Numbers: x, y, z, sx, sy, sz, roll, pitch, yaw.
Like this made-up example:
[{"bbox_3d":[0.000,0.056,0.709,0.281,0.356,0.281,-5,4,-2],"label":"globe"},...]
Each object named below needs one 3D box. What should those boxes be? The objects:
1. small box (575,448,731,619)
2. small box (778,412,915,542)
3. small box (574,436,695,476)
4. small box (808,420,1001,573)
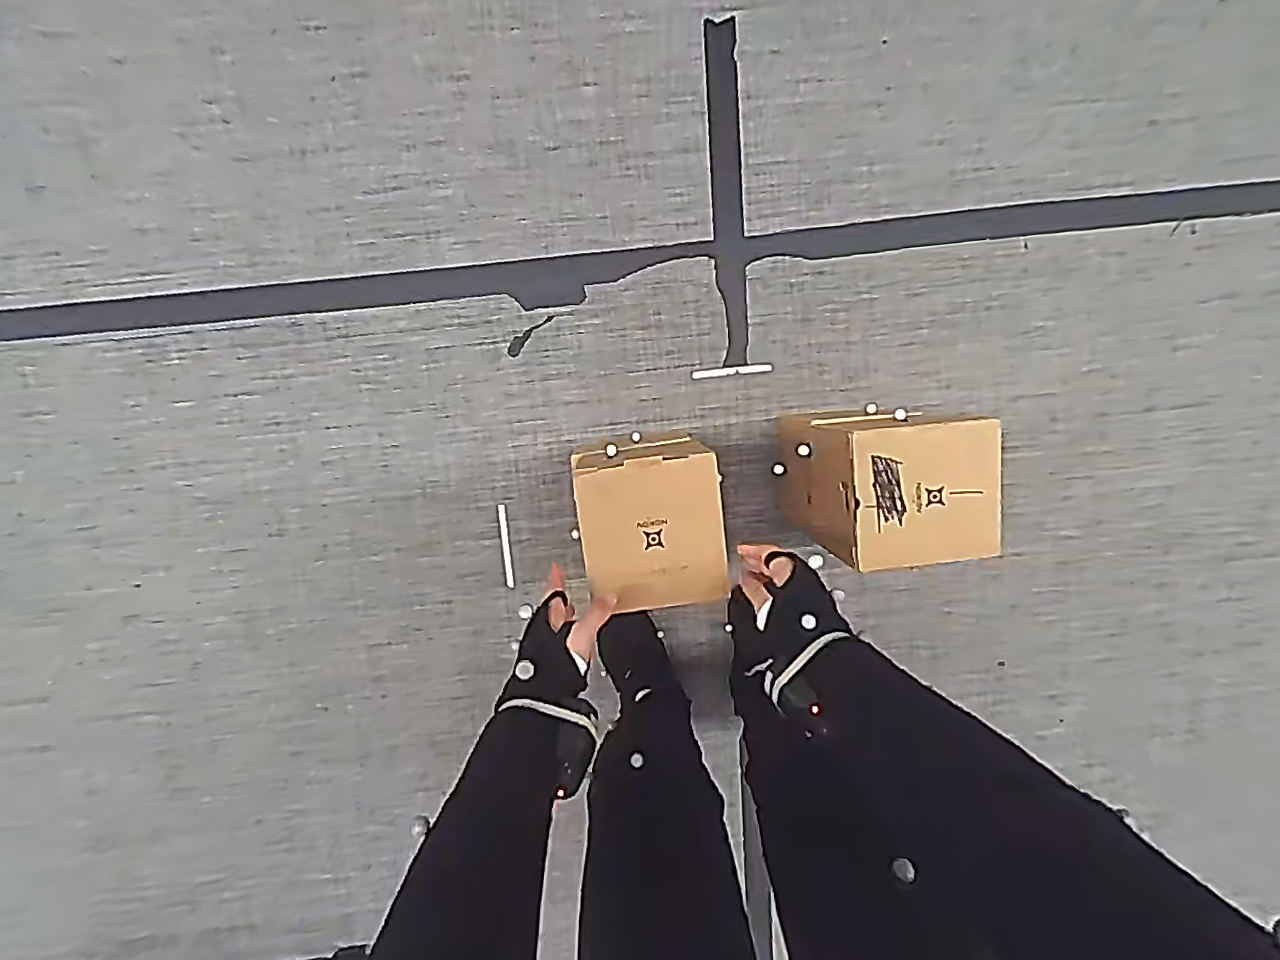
[{"bbox_3d":[0.014,0.056,0.696,0.168,0.176,0.179,-8,100,0],"label":"small box"},{"bbox_3d":[0.325,-0.013,0.865,0.168,0.176,0.179,-4,100,-2],"label":"small box"},{"bbox_3d":[-0.002,0.025,0.856,0.179,0.176,0.168,-8,99,0],"label":"small box"},{"bbox_3d":[0.326,0.012,0.700,0.179,0.176,0.168,-6,99,-2],"label":"small box"}]
